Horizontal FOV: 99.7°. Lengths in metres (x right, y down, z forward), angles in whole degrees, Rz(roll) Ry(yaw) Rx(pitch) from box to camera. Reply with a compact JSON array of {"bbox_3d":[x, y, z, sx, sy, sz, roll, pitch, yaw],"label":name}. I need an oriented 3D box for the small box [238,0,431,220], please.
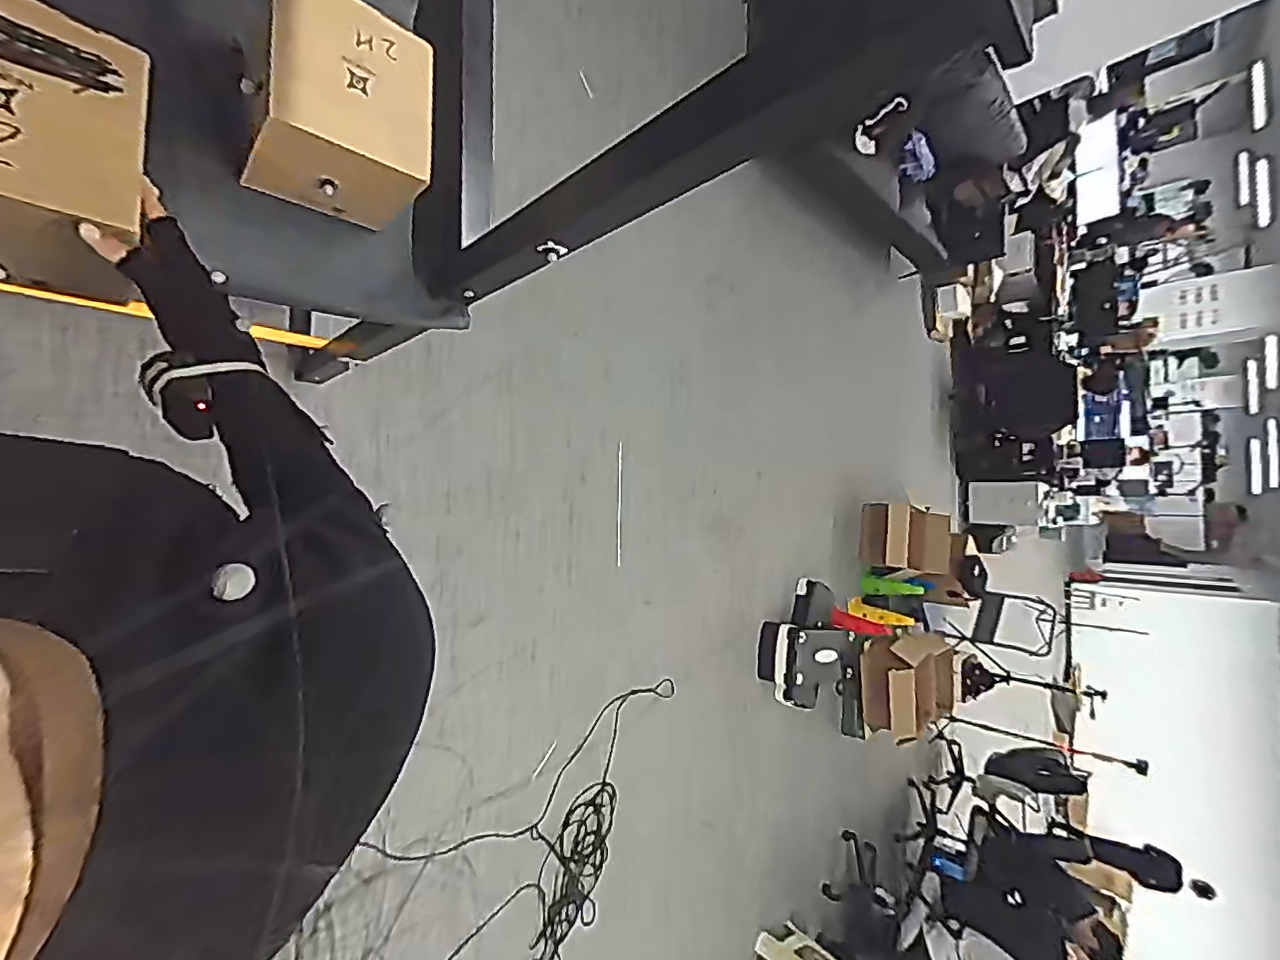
[{"bbox_3d":[-0.370,-0.449,0.655,0.168,0.176,0.179,3,86,-45],"label":"small box"}]
